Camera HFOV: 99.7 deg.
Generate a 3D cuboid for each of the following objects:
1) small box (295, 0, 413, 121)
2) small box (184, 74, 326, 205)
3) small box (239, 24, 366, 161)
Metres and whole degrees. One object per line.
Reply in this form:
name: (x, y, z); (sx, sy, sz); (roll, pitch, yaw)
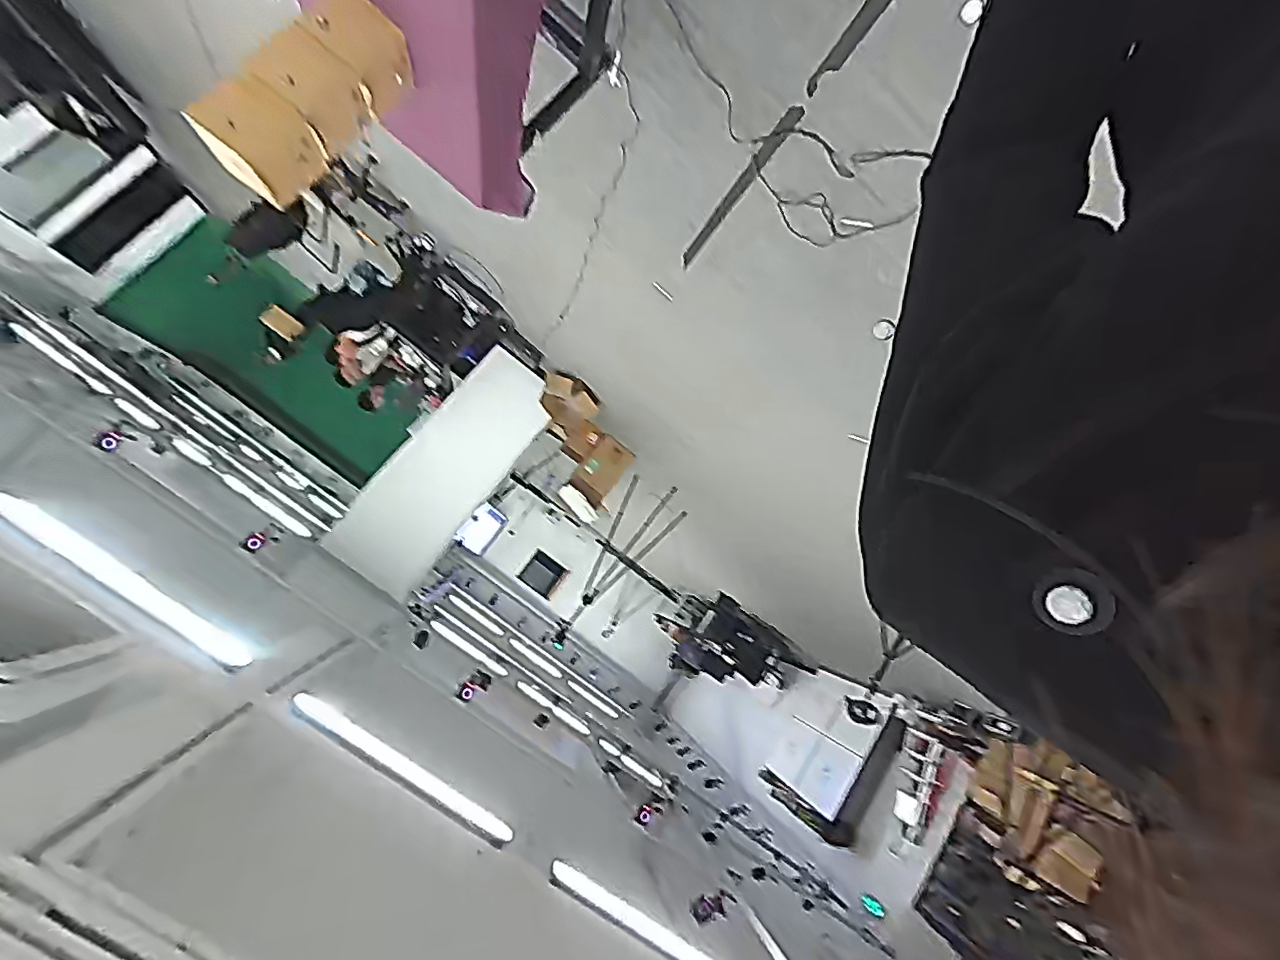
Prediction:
small box: (-0.697, -1.058, 1.339); (0.179, 0.176, 0.168); (39, 166, -8)
small box: (-0.895, -0.805, 1.276); (0.179, 0.176, 0.168); (37, 166, 0)
small box: (-0.794, -0.931, 1.301); (0.179, 0.176, 0.168); (39, 166, -4)
